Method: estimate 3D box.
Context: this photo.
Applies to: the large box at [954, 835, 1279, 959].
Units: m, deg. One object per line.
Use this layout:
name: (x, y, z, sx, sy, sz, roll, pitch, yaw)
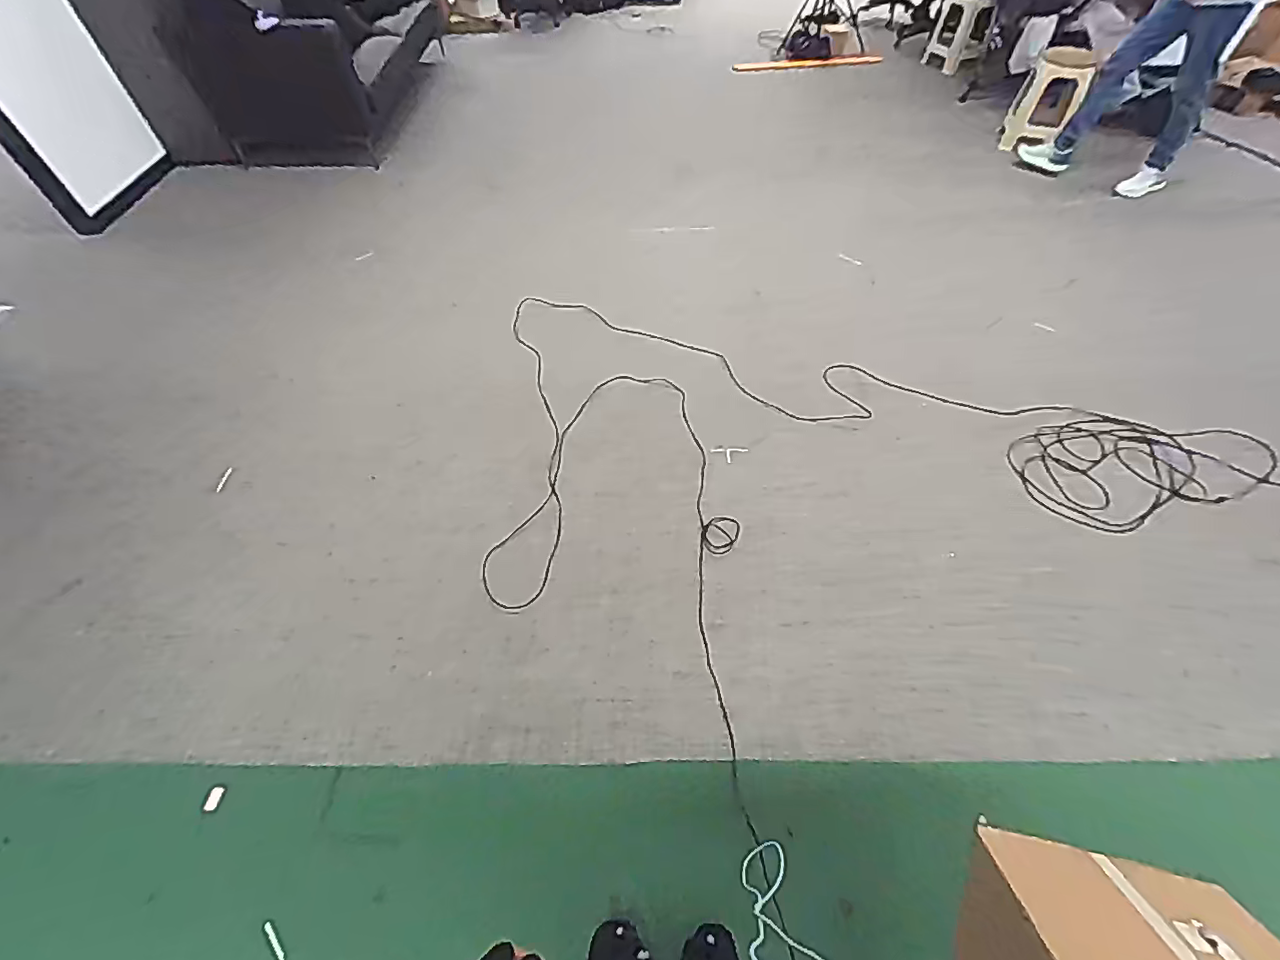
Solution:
large box: (0.585, 0.704, 0.595, 0.320, 0.408, 0.320, 8, 92, 12)
